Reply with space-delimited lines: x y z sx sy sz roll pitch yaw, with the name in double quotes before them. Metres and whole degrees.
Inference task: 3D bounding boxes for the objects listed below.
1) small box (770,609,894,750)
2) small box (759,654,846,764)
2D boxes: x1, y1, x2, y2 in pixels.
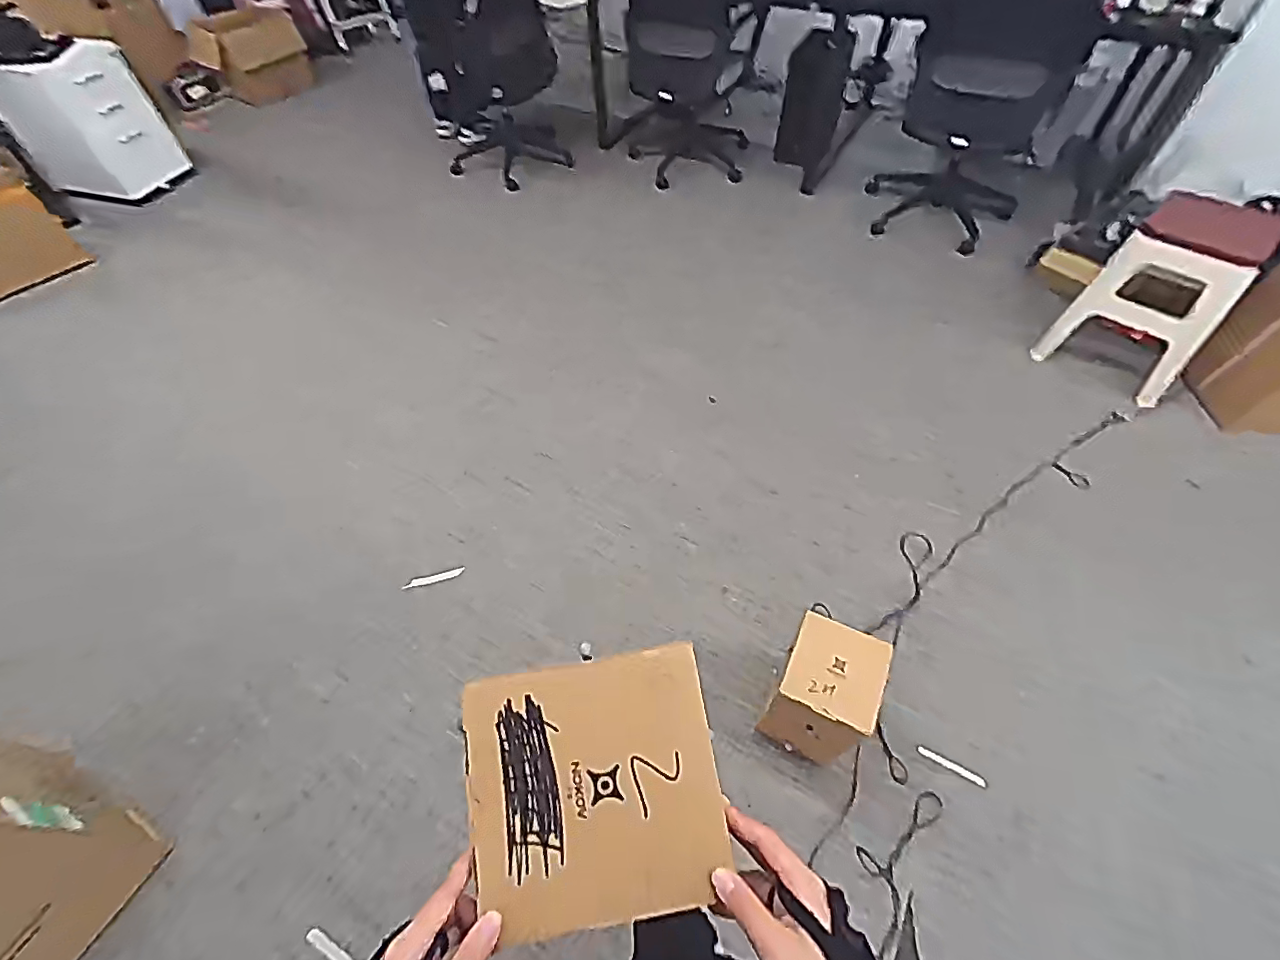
"small box" 0.362 0.386 1.041 0.168 0.176 0.179 21 58 18
"small box" 0.369 0.484 1.174 0.168 0.176 0.179 22 59 19
